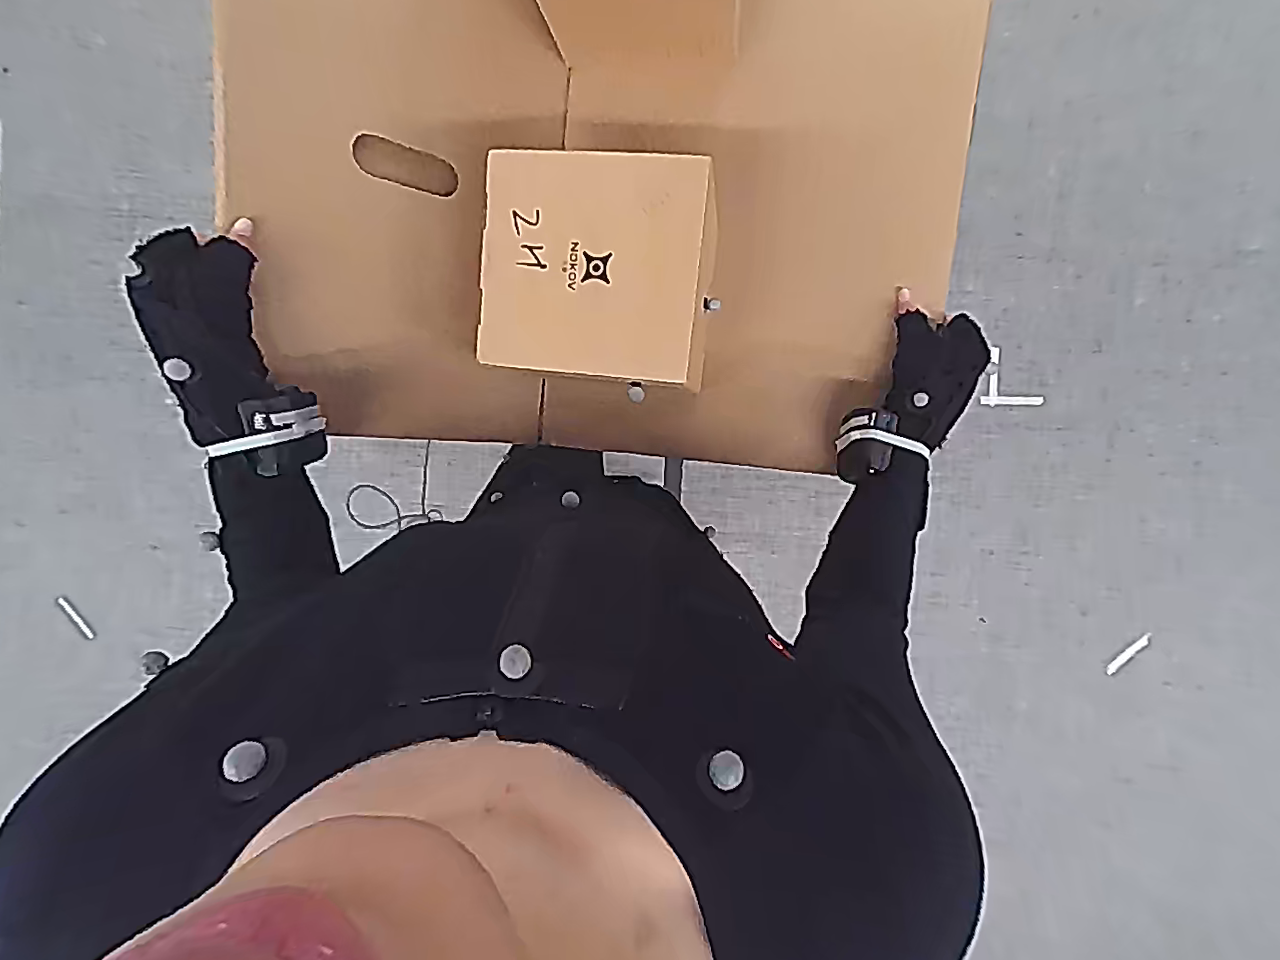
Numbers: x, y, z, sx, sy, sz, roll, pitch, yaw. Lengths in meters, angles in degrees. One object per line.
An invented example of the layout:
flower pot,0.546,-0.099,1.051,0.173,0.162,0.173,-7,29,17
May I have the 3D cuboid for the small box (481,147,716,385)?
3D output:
small box,-0.026,-0.181,0.505,0.179,0.176,0.168,8,98,9
